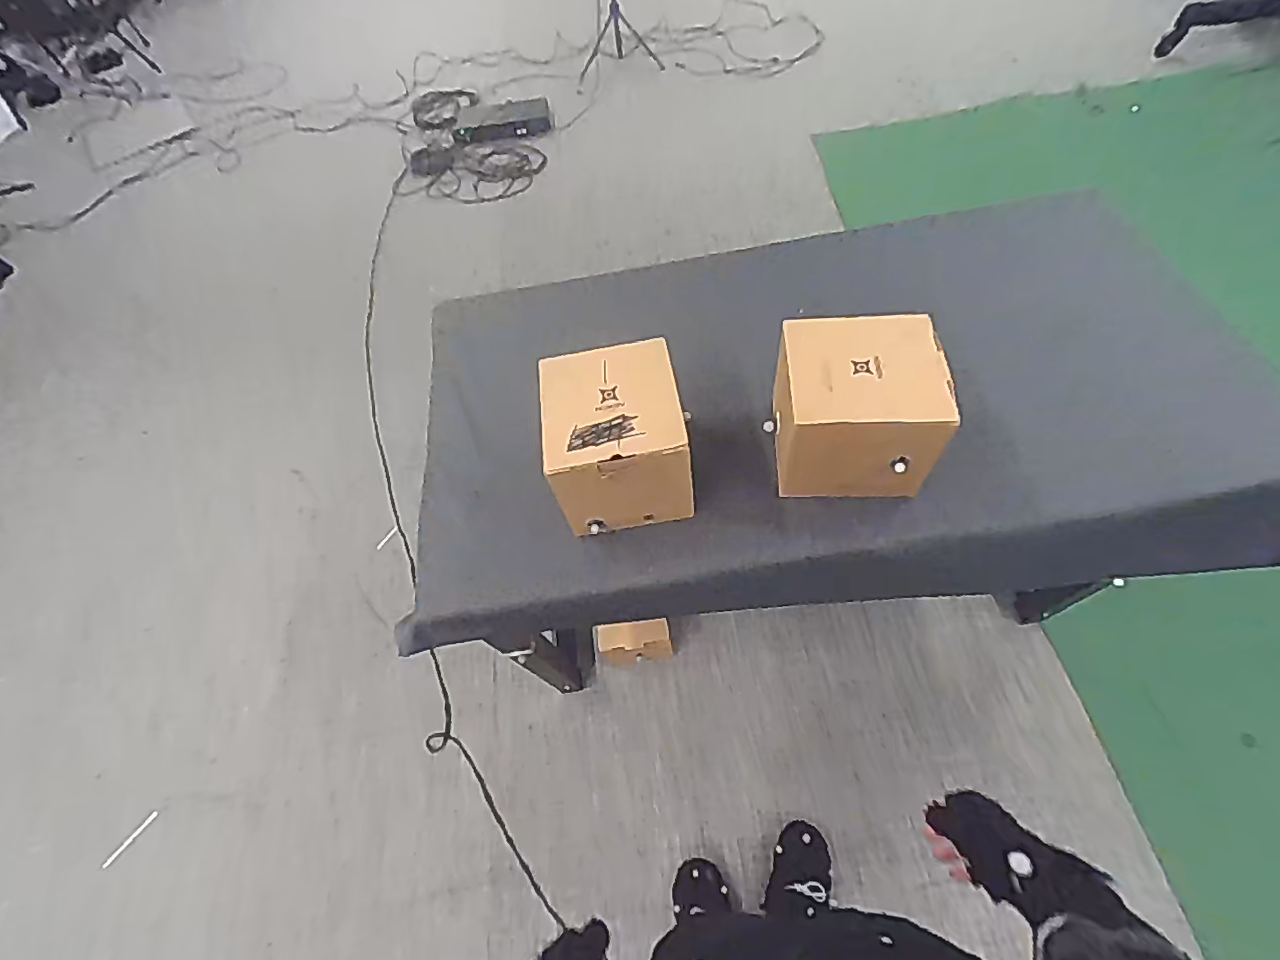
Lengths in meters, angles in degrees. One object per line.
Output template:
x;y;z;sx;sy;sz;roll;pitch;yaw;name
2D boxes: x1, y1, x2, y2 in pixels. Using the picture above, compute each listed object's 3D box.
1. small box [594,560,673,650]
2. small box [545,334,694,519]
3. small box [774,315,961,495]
-0.013;0.318;1.344;0.168;0.176;0.179;-9;61;2;small box
-0.023;-0.060;0.713;0.168;0.176;0.179;-9;58;2;small box
0.274;-0.090;0.697;0.179;0.176;0.168;0;60;8;small box
